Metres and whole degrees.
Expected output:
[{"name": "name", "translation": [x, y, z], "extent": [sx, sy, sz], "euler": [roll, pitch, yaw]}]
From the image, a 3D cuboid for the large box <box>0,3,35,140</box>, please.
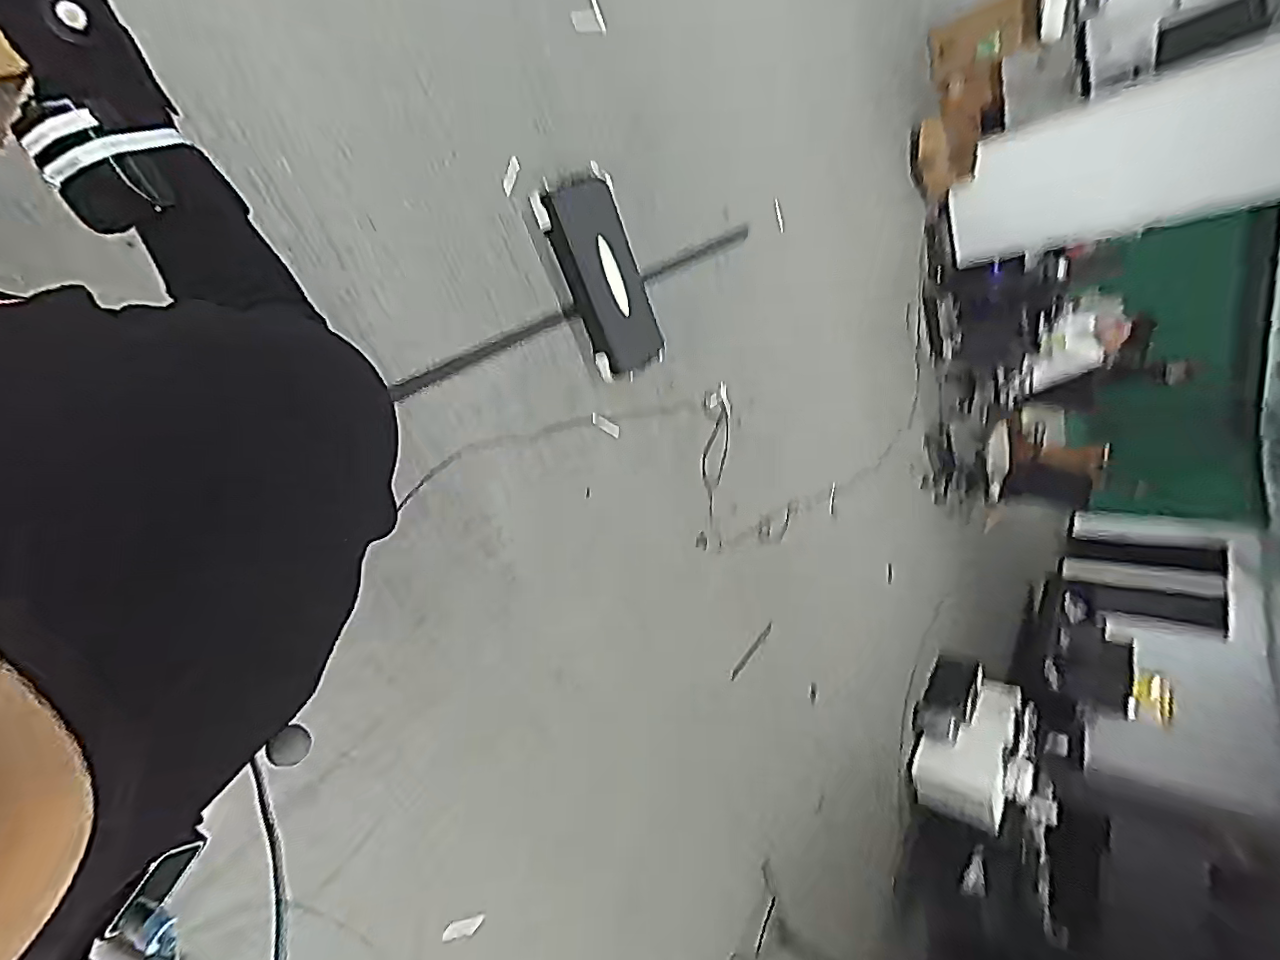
[{"name": "large box", "translation": [-0.640, -0.280, 0.229], "extent": [0.408, 0.320, 0.320], "euler": [-47, 136, -32]}]
